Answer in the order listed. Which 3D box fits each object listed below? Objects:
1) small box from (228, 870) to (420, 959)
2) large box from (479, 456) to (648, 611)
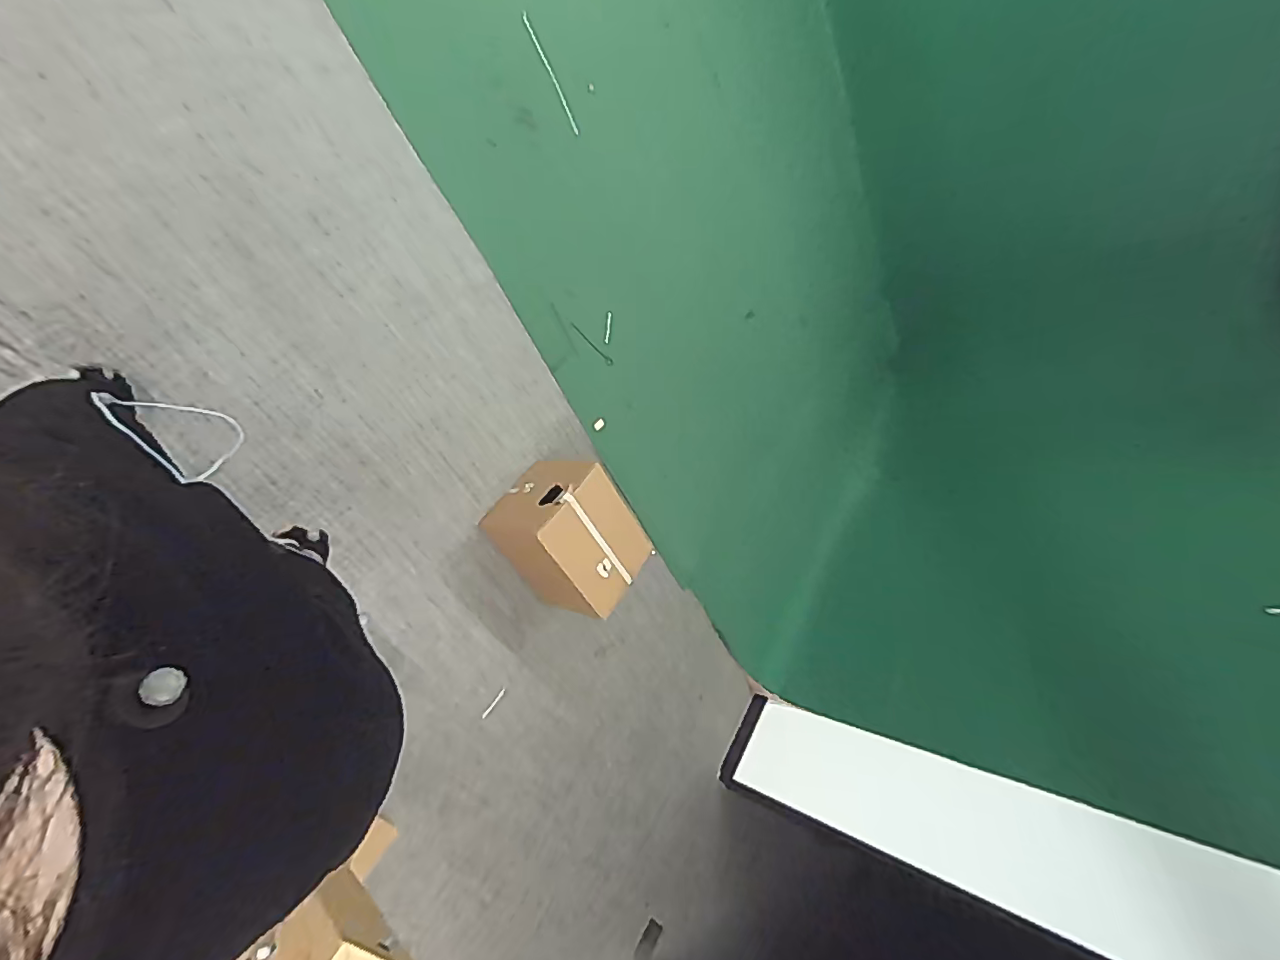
[{"bbox_3d":[-0.448,0.700,0.763,0.168,0.176,0.179,-52,125,-33],"label":"small box"},{"bbox_3d":[-0.244,0.166,1.788,0.320,0.320,0.408,-53,129,-31],"label":"large box"}]
